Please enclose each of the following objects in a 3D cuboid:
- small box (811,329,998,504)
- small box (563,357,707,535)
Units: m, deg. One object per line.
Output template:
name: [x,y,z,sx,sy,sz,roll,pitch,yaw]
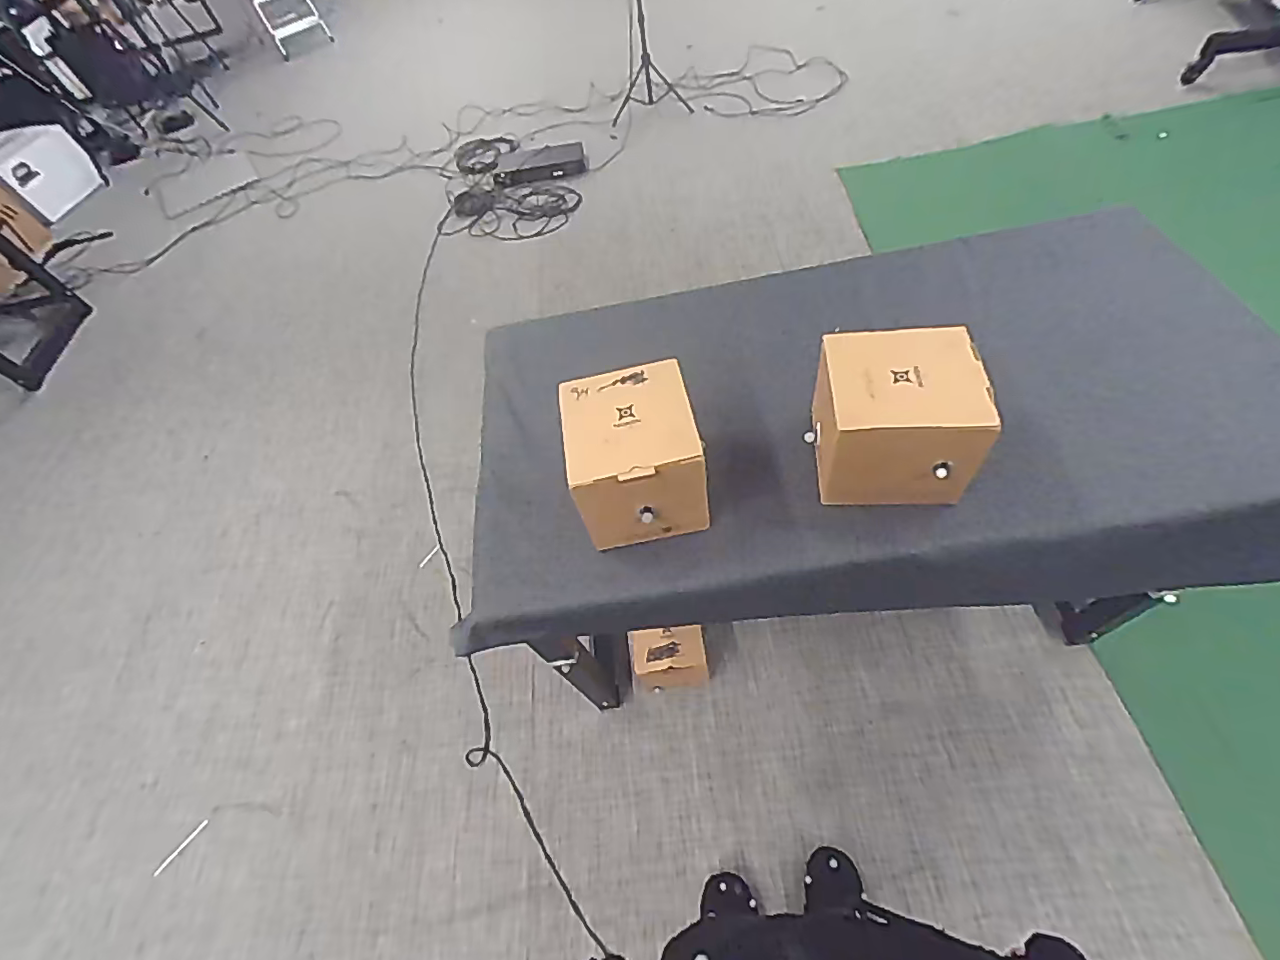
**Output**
small box: [0.334,-0.078,0.723,0.179,0.176,0.168,-1,56,11]
small box: [-0.004,-0.037,0.751,0.168,0.176,0.179,-11,56,2]
